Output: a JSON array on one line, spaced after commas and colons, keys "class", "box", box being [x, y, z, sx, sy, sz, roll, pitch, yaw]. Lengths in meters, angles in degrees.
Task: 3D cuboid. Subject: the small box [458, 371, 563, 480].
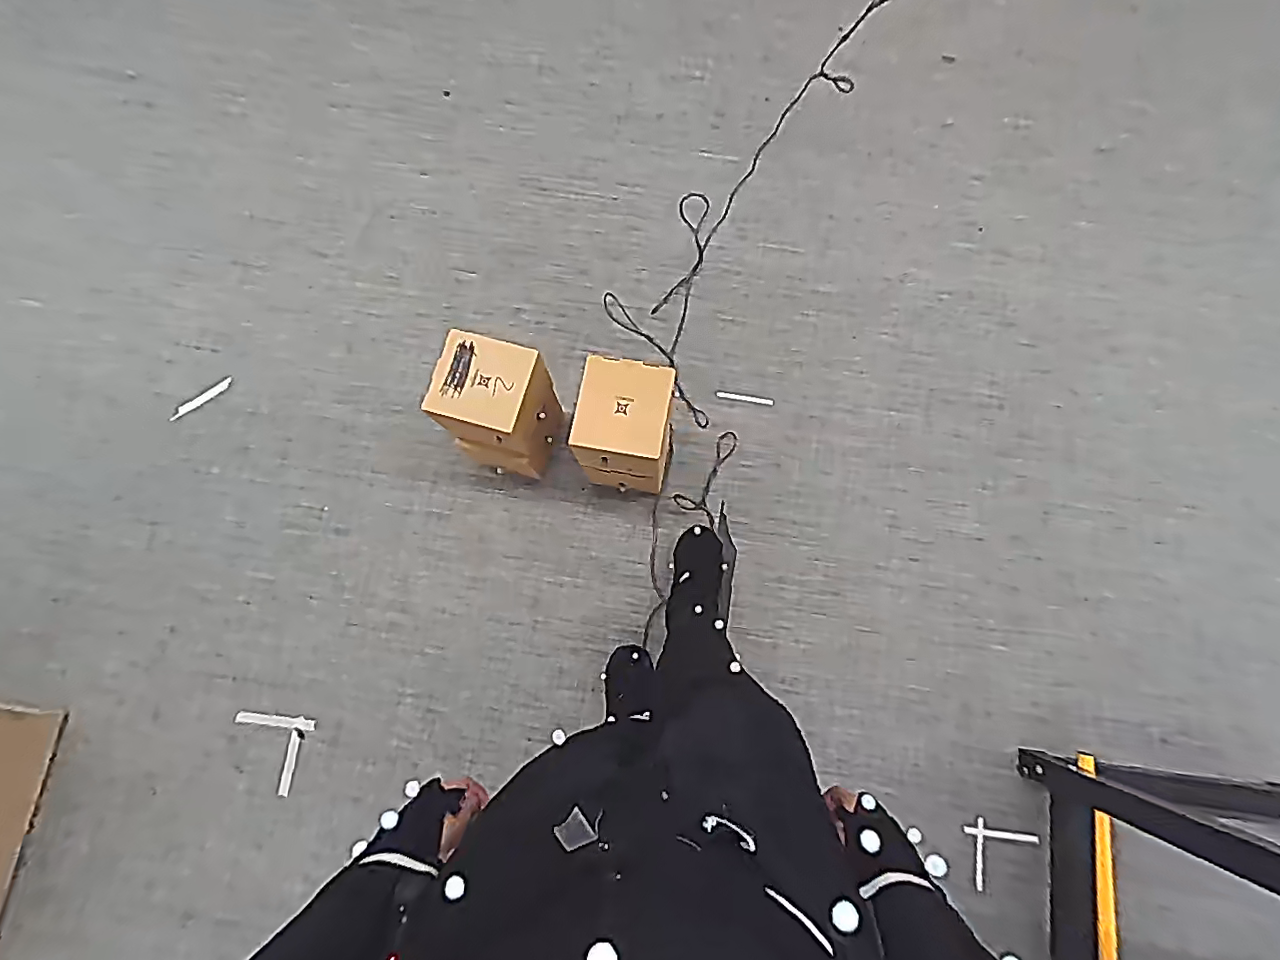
[{"class": "small box", "box": [-0.280, -0.116, 1.217, 0.168, 0.176, 0.179, 15, 79, 4]}]

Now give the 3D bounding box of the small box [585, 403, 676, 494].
[{"class": "small box", "box": [-0.018, -0.079, 1.205, 0.168, 0.176, 0.179, 10, 78, 4]}]

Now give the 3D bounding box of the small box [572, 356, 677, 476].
[{"class": "small box", "box": [-0.024, -0.115, 1.047, 0.168, 0.176, 0.179, 10, 77, 4]}]
